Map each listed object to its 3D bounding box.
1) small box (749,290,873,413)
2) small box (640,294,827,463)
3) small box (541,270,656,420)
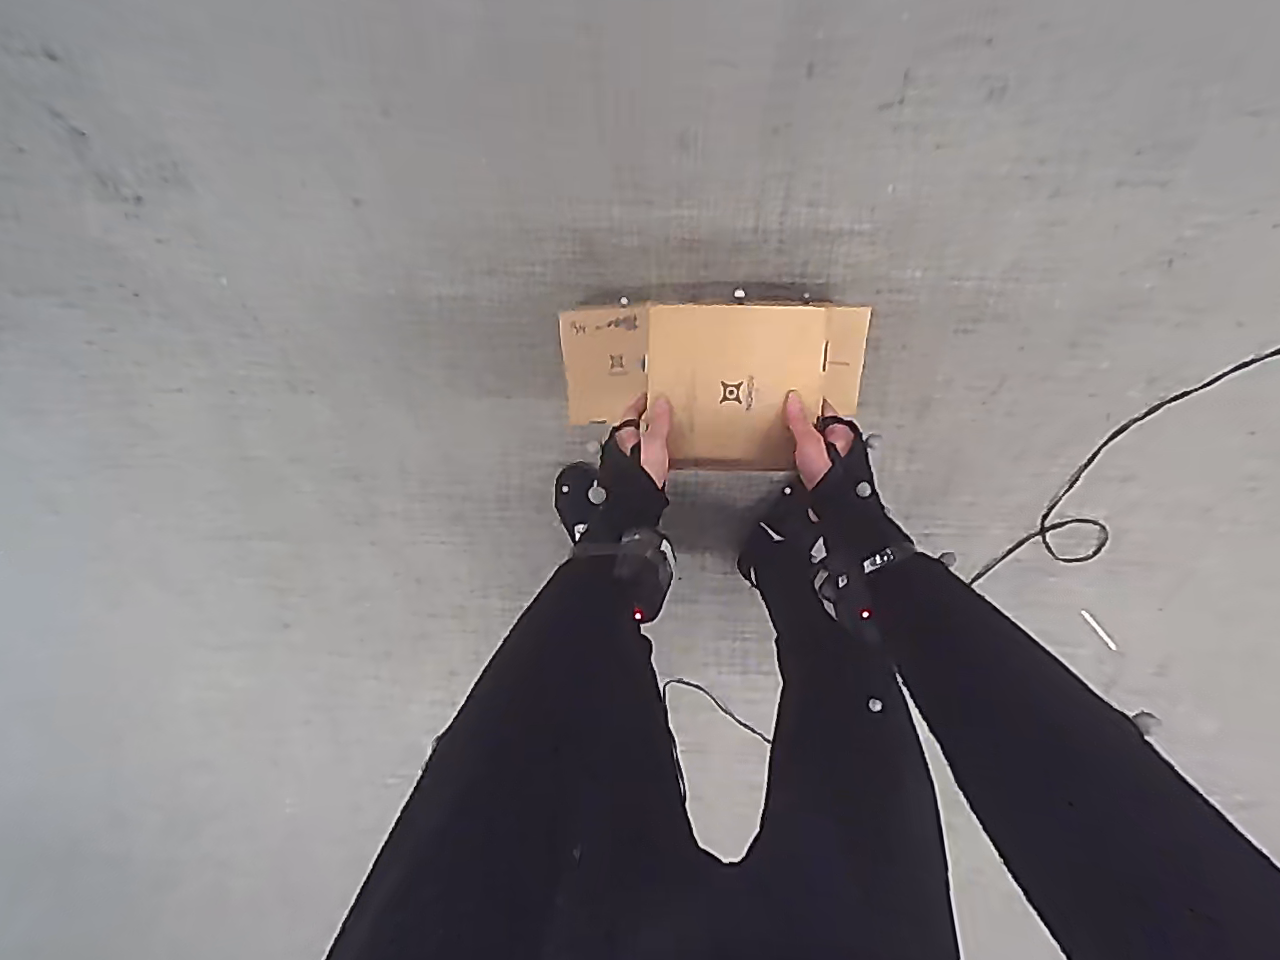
[{"bbox_3d":[0.255,-0.220,0.899,0.179,0.176,0.168,5,114,2],"label":"small box"},{"bbox_3d":[0.091,-0.122,0.611,0.179,0.176,0.168,1,108,2],"label":"small box"},{"bbox_3d":[-0.032,-0.228,0.907,0.179,0.176,0.168,-31,105,15],"label":"small box"}]
